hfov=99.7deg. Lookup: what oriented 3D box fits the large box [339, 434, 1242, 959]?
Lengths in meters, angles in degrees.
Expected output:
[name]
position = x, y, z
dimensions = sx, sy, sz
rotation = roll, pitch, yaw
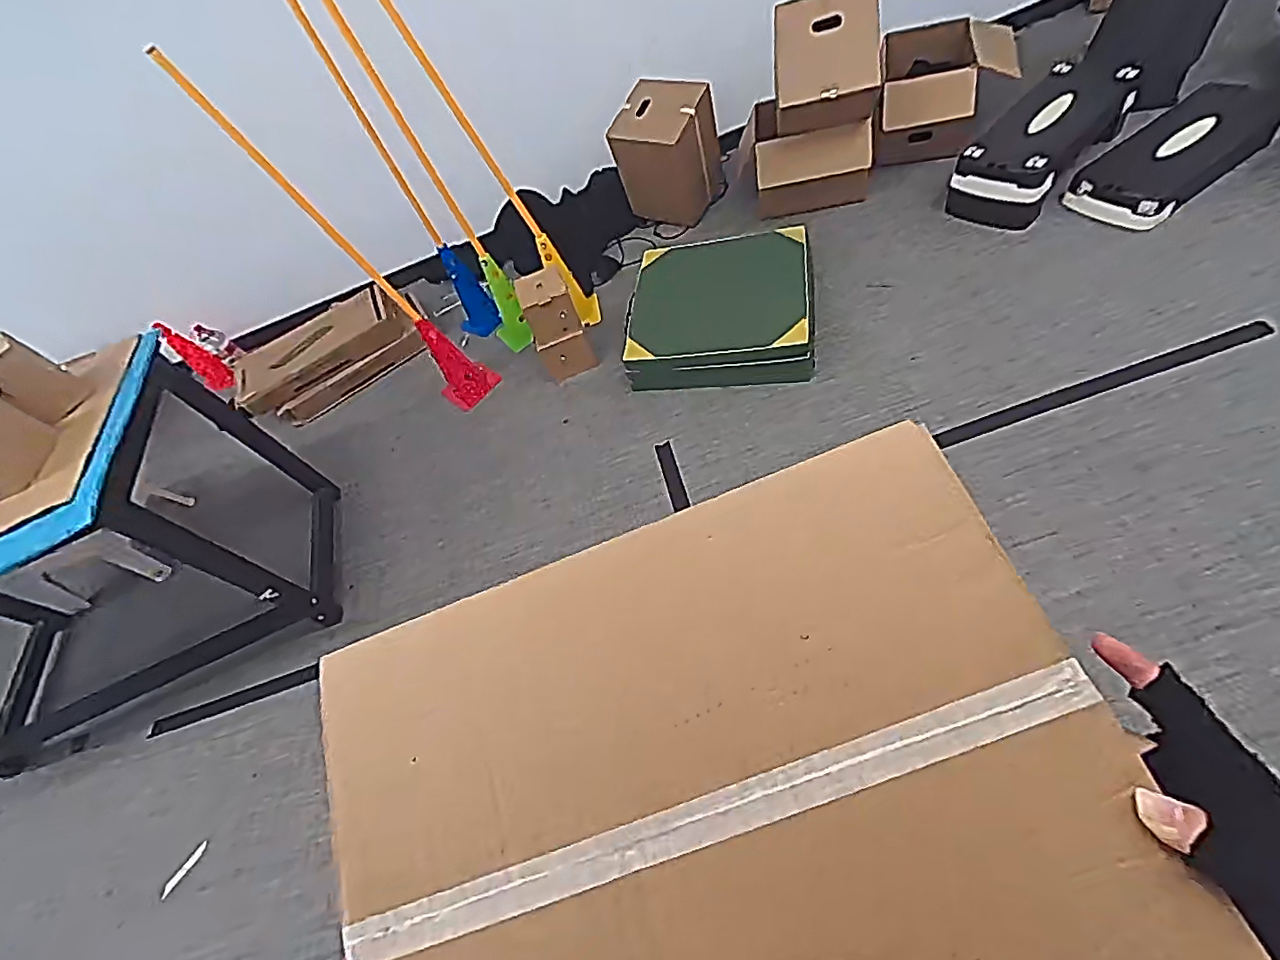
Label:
[large box]
position = 0.064, 0.226, 0.423
dimensions = 0.408, 0.320, 0.320
rotation = -23, 66, 4
